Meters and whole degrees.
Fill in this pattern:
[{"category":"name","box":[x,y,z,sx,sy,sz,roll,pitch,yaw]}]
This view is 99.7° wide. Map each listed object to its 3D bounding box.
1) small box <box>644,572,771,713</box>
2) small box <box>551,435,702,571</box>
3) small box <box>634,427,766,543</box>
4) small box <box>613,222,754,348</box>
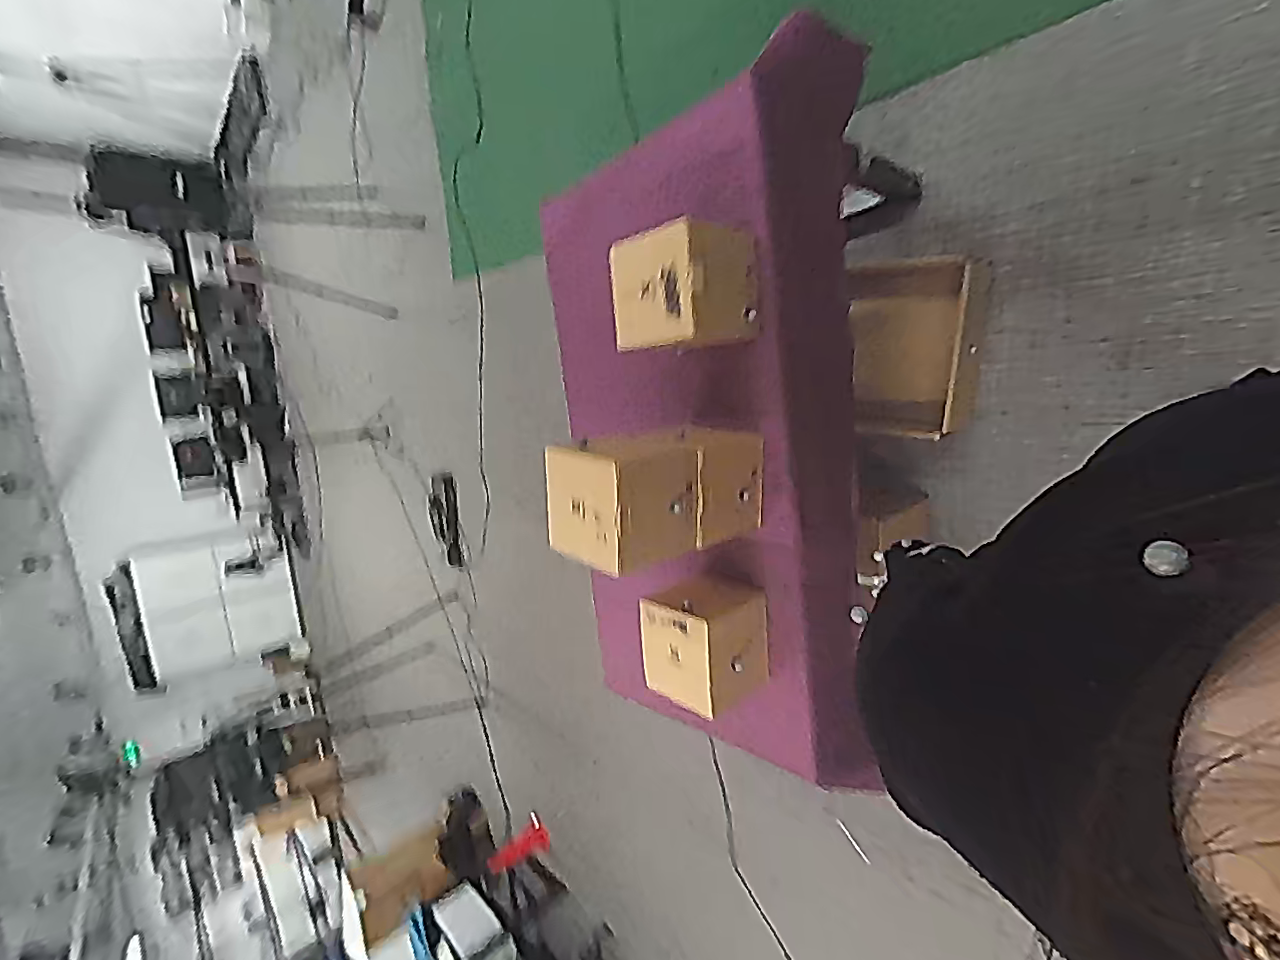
[{"category":"small box","box":[0.130,0.292,1.010,0.168,0.176,0.179,5,104,46]},{"category":"small box","box":[-0.022,0.025,0.862,0.179,0.176,0.168,13,110,45]},{"category":"small box","box":[0.102,-0.002,0.967,0.179,0.176,0.168,11,108,45]},{"category":"small box","box":[0.079,-0.316,0.906,0.179,0.176,0.168,6,104,47]}]
